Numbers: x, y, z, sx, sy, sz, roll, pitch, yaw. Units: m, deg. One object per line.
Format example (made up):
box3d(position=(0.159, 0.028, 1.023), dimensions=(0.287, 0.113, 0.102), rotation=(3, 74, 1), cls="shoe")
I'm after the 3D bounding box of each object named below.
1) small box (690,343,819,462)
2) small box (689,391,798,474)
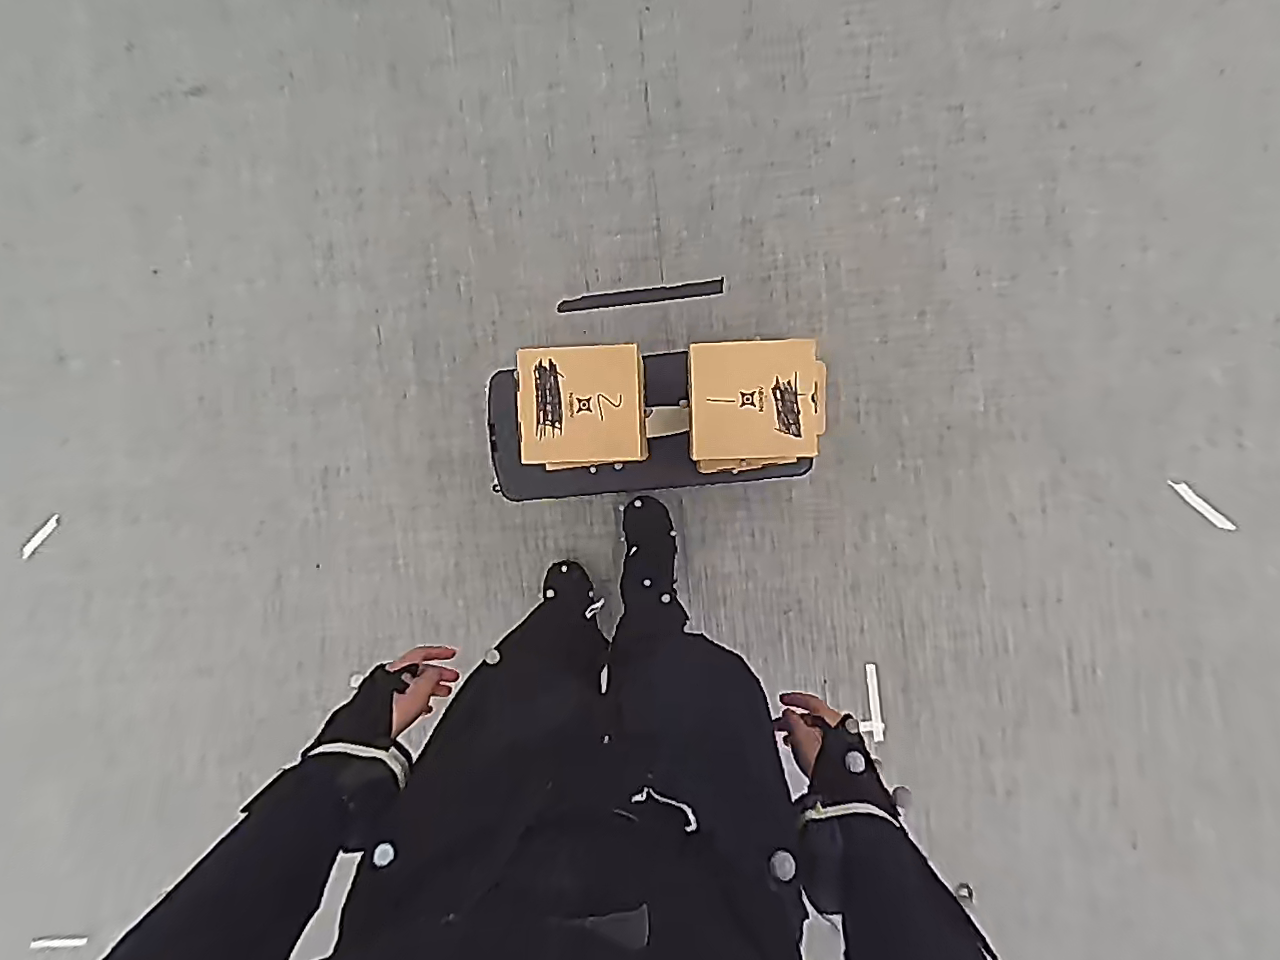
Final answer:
box3d(position=(0.167, -0.114, 0.836), dimensions=(0.179, 0.176, 0.168), rotation=(-1, 93, 5), cls="small box")
box3d(position=(0.183, -0.108, 1.000), dimensions=(0.168, 0.176, 0.179), rotation=(-7, 93, 4), cls="small box")
